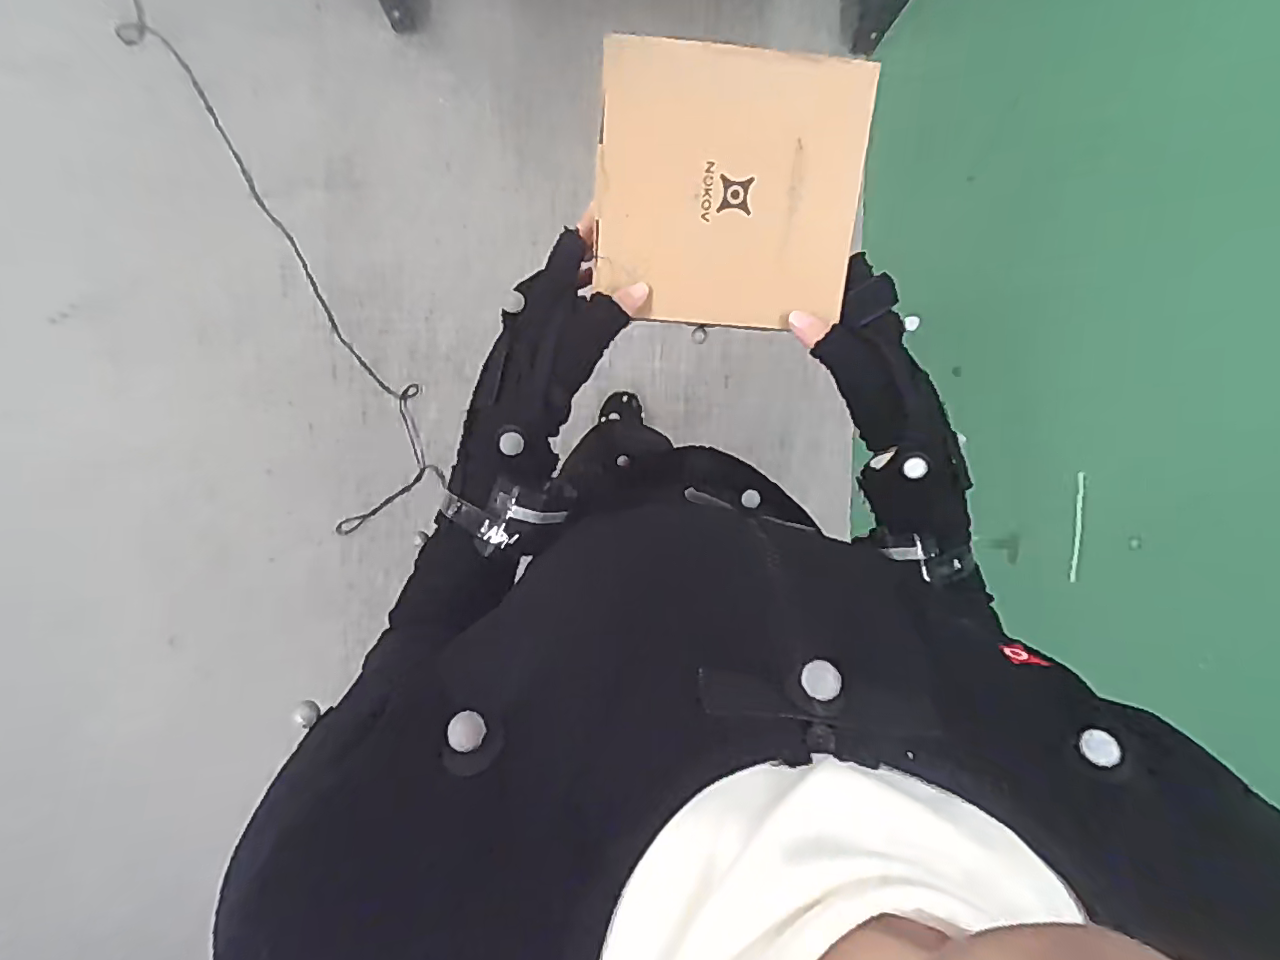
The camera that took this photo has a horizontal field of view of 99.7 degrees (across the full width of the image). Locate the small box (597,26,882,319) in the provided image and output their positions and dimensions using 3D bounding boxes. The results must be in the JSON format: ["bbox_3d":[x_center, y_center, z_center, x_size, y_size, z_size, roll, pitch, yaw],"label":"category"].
[{"bbox_3d":[0.058,-0.218,0.431,0.179,0.176,0.168,2,108,-4],"label":"small box"}]
